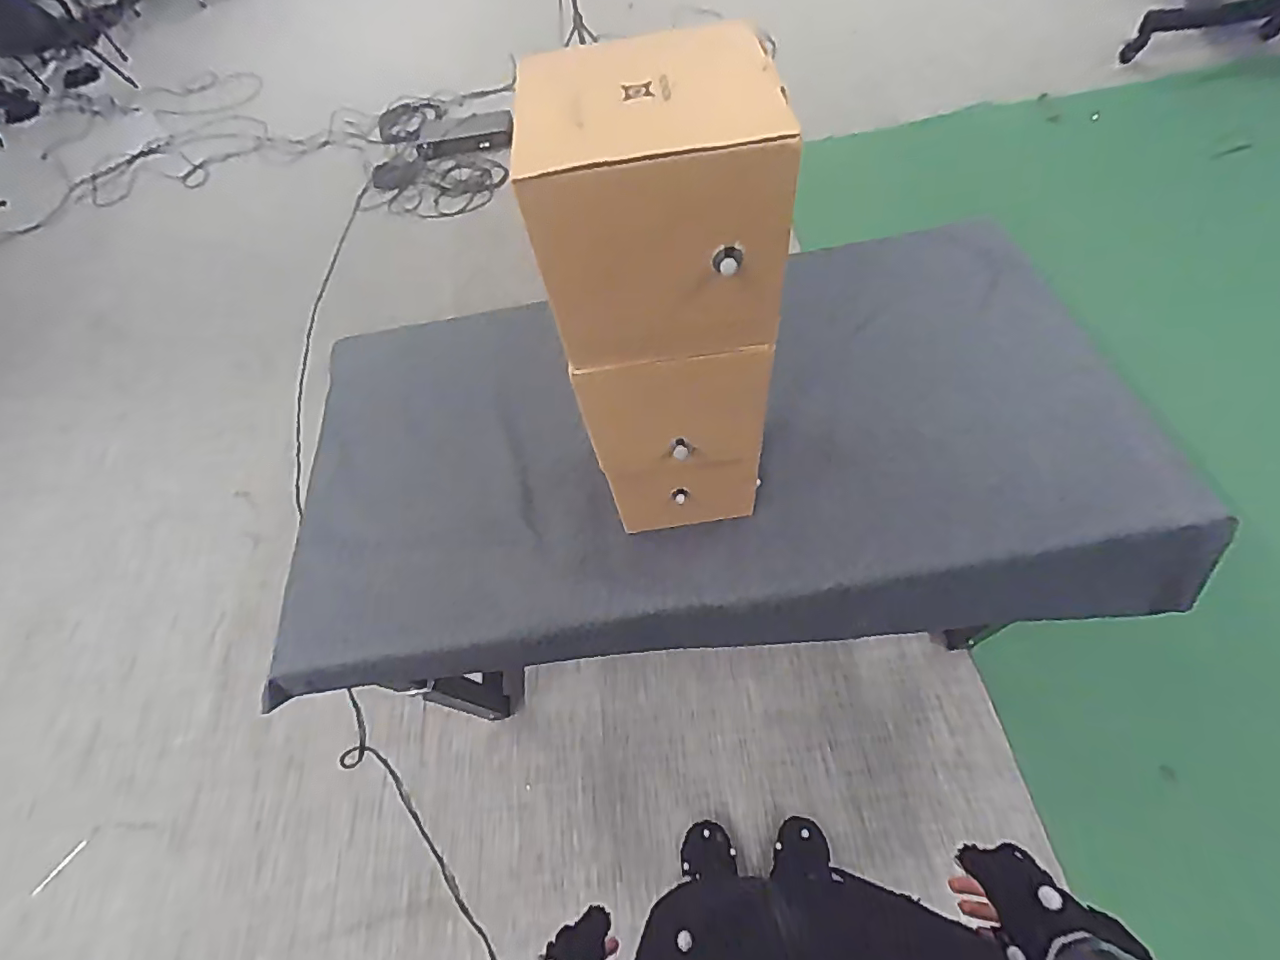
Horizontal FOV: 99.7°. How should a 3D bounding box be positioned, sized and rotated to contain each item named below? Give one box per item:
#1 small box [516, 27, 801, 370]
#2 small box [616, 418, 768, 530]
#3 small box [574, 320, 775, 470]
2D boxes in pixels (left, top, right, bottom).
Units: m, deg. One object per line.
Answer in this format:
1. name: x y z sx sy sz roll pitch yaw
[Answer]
1. small box: 0.013 -0.211 0.432 0.179 0.176 0.168 -9 58 4
2. small box: 0.054 -0.051 0.713 0.179 0.176 0.168 -11 59 0
3. small box: 0.031 -0.127 0.570 0.179 0.176 0.168 -8 59 3
